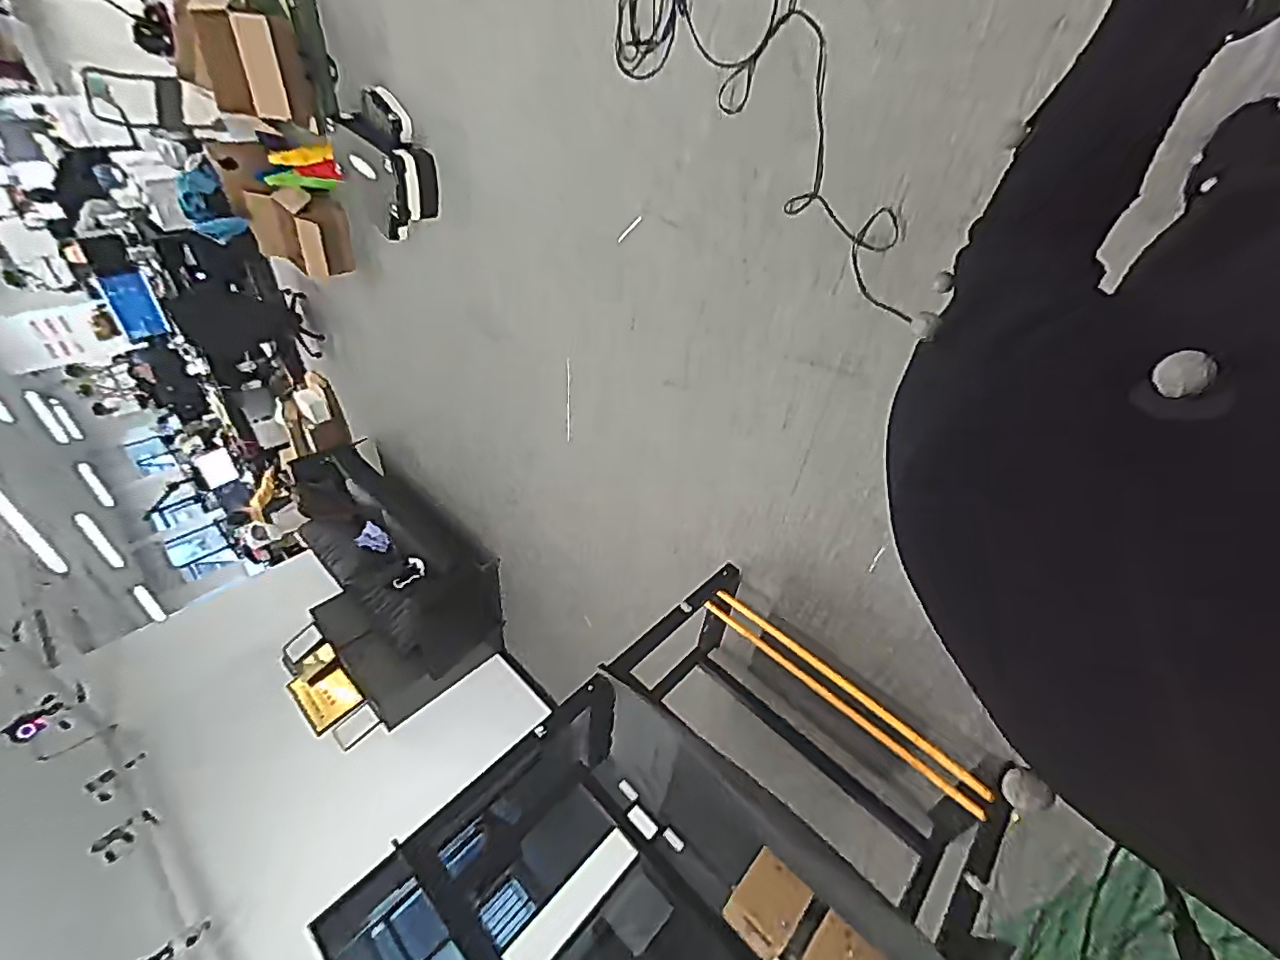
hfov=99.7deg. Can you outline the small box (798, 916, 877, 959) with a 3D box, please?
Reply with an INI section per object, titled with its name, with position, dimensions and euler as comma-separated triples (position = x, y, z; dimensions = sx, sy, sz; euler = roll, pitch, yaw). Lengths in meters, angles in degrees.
[small box]
position = 0.502, 1.283, 1.391
dimensions = 0.168, 0.176, 0.179
euler = 33, 136, 31
